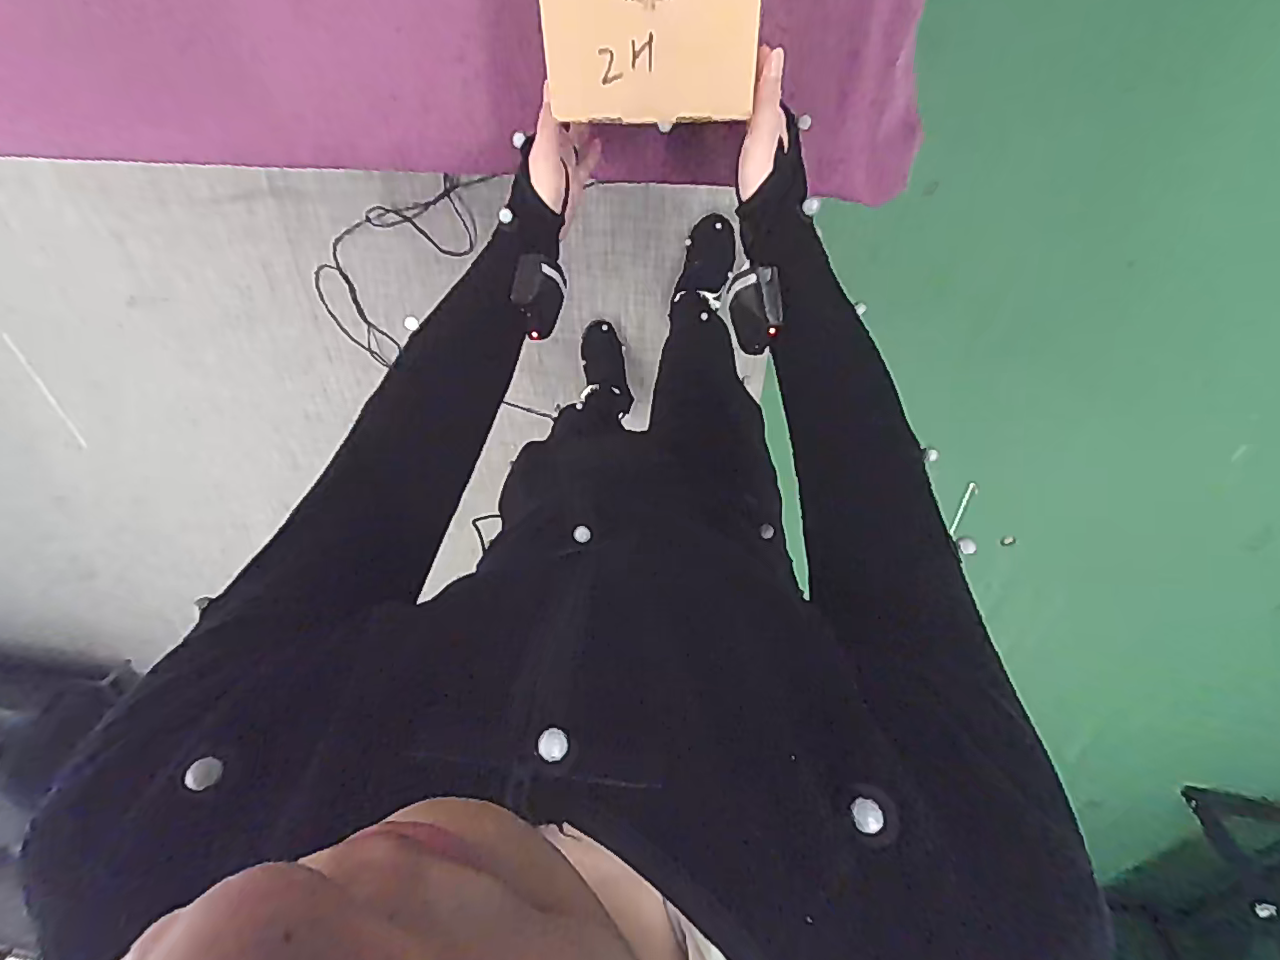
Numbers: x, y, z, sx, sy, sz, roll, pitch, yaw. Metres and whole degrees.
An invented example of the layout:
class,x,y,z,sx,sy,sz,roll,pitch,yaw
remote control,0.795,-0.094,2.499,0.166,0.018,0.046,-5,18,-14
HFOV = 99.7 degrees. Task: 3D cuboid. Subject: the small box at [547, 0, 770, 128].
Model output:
class,x,y,z,sx,sy,sz,roll,pitch,yaw
small box,0.023,-0.404,0.450,0.168,0.176,0.179,6,128,7
